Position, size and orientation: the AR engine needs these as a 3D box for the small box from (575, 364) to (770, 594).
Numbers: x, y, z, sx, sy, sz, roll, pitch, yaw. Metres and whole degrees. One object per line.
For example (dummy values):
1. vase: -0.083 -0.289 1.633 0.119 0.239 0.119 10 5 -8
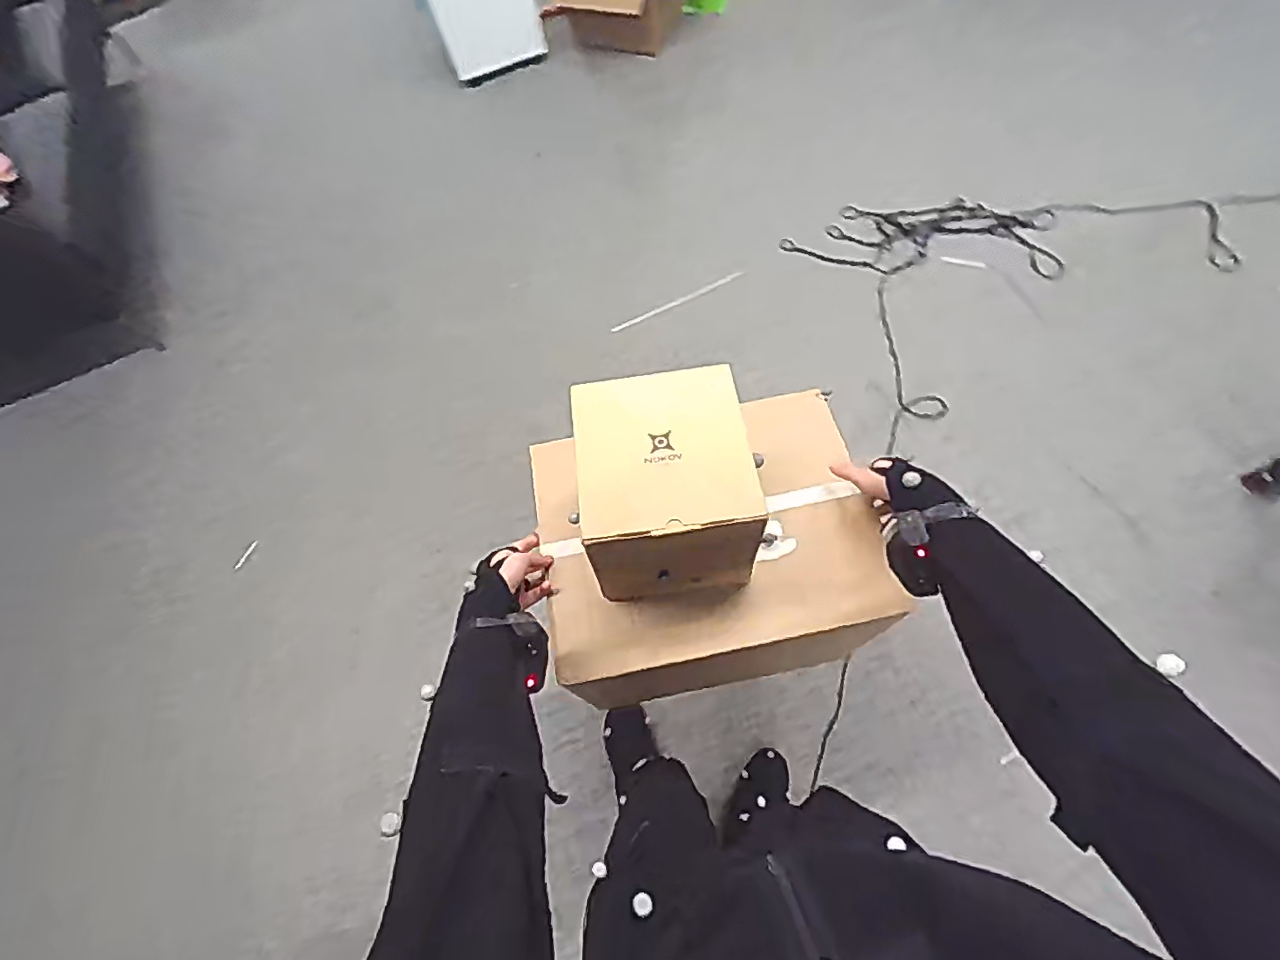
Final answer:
1. small box: 0.027 0.005 0.573 0.168 0.176 0.179 -8 61 0

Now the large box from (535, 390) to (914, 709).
1. large box: 0.089 0.118 0.786 0.408 0.320 0.320 -11 63 -2
